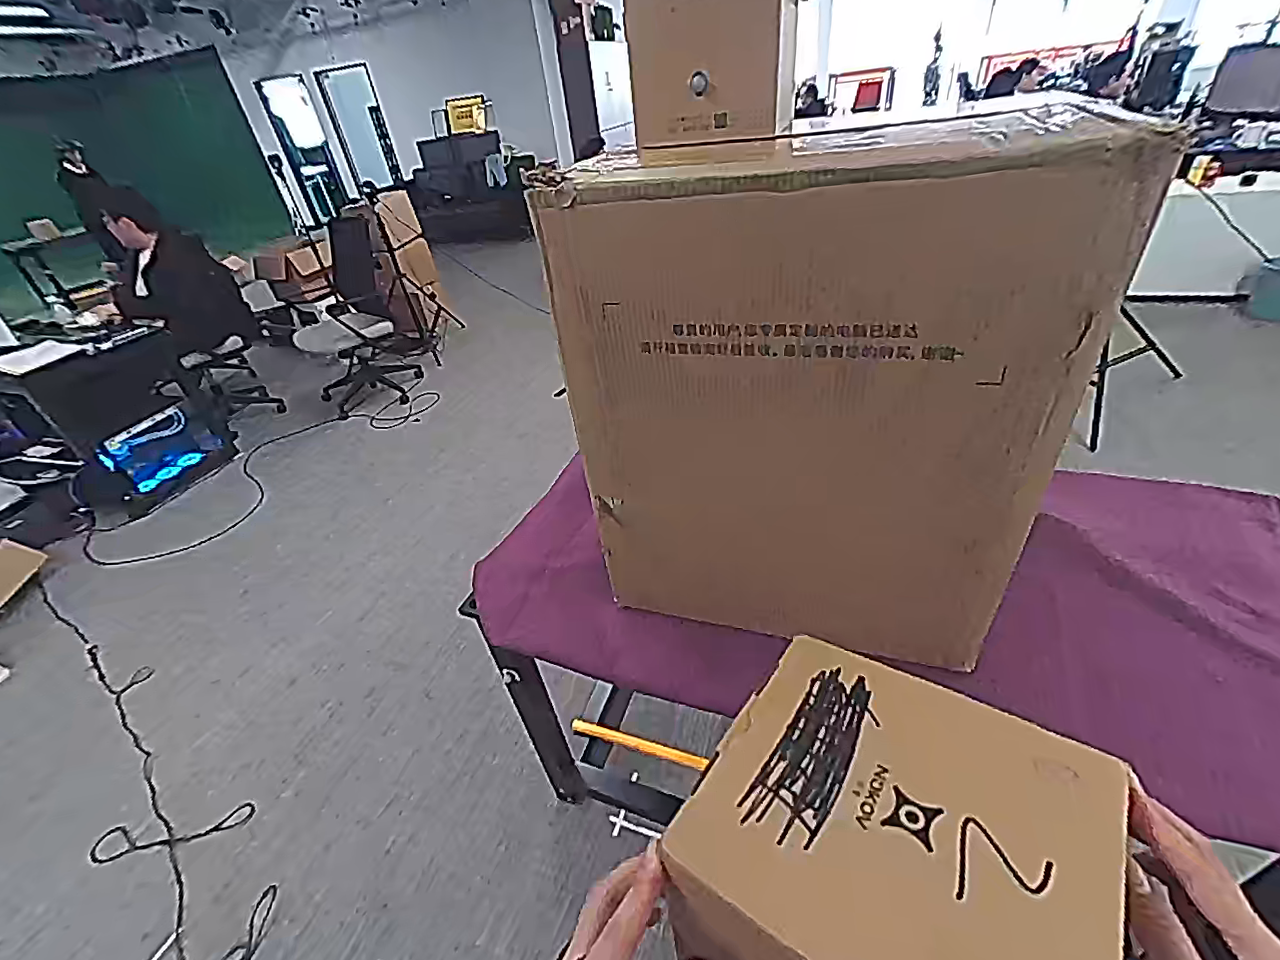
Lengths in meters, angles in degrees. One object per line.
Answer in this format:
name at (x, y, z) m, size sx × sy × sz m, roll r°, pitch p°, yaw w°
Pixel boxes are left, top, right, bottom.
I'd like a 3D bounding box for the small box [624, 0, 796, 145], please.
small box at (0.086, -0.500, 0.632) m, size 0.168 × 0.176 × 0.179 m, roll 7°, pitch 38°, yaw 19°
